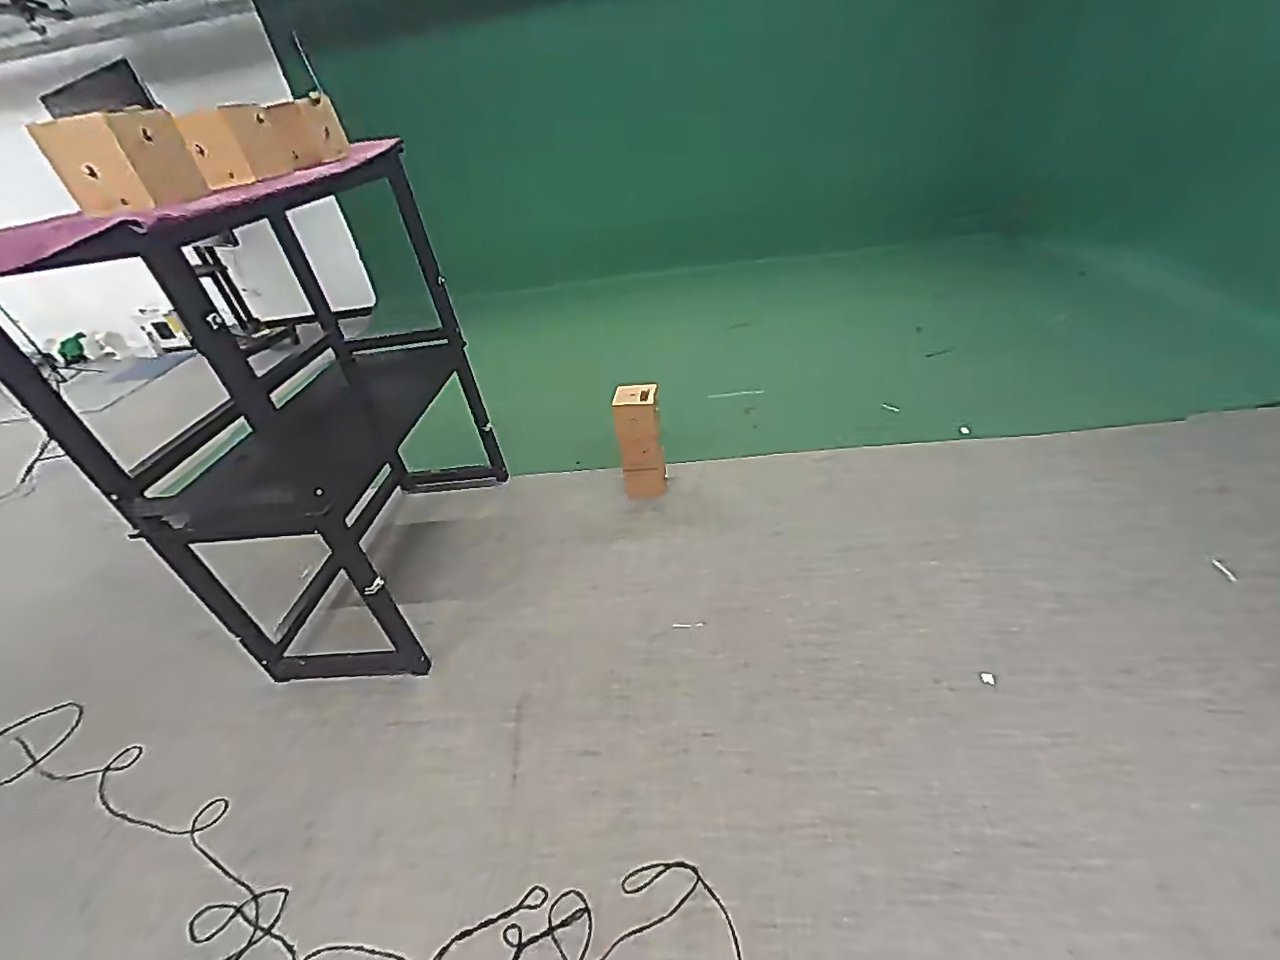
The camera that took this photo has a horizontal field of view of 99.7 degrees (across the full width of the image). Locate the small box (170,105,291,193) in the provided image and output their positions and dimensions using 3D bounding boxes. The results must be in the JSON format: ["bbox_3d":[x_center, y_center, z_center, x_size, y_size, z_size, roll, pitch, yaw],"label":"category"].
[{"bbox_3d":[-1.071,-0.868,1.424,0.168,0.176,0.179,-6,35,8],"label":"small box"}]

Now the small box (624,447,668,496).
[{"bbox_3d":[0.031,-0.036,2.514,0.179,0.176,0.168,-2,37,9],"label":"small box"}]

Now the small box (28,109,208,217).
[{"bbox_3d":[-1.068,-0.657,1.128,0.168,0.176,0.179,-4,35,6],"label":"small box"}]

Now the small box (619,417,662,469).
[{"bbox_3d":[0.008,-0.160,2.413,0.168,0.176,0.179,-3,36,8],"label":"small box"}]

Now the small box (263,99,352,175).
[{"bbox_3d":[-1.059,-1.086,1.712,0.179,0.176,0.168,-2,38,14],"label":"small box"}]
